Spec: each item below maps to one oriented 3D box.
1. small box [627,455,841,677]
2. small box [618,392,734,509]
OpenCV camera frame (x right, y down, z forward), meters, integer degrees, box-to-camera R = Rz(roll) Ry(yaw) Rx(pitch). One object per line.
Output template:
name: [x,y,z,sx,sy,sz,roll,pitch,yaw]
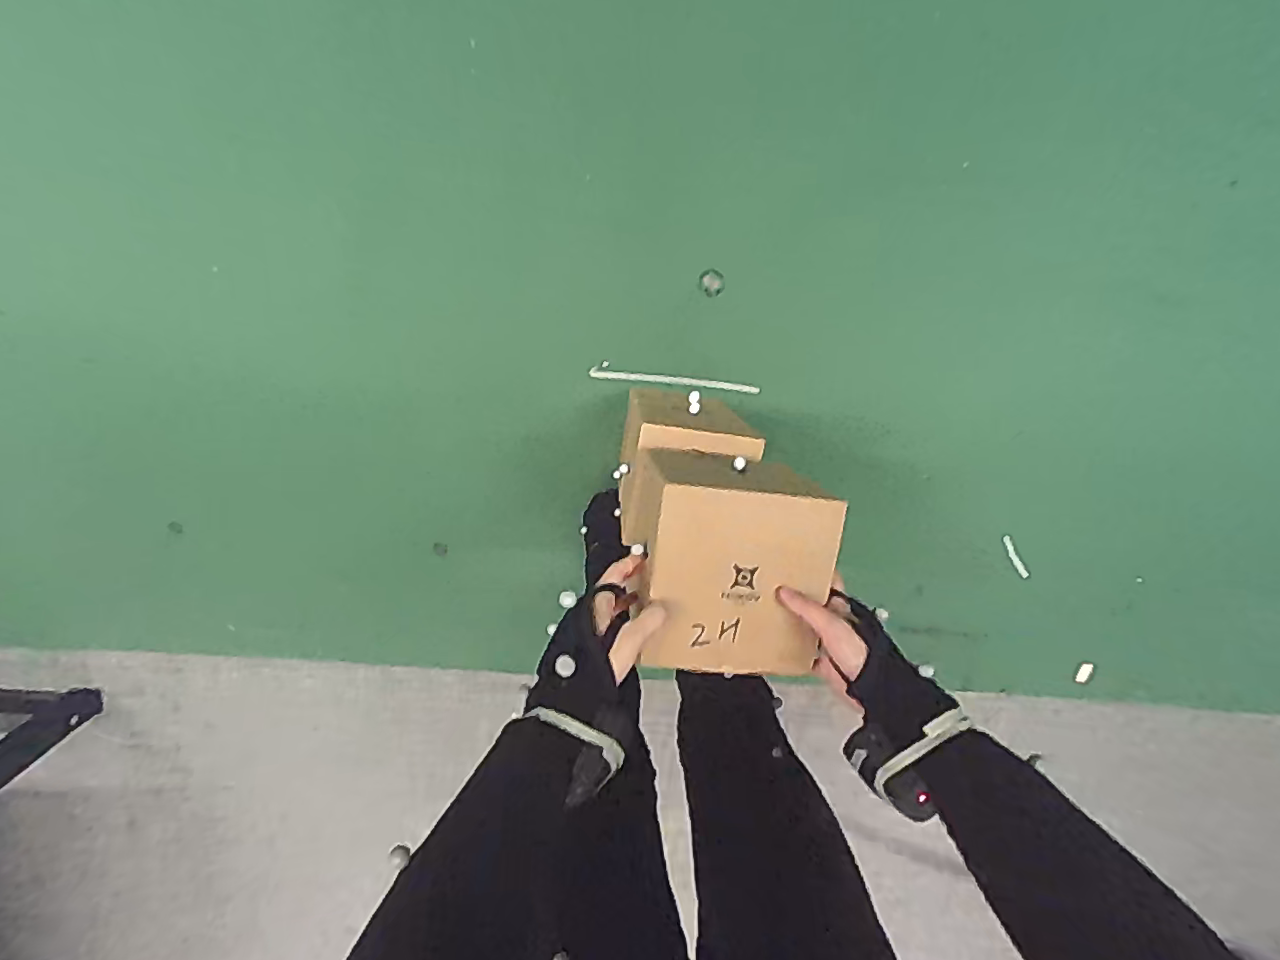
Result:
small box: [0.080,0.077,0.565,0.168,0.176,0.179,7,103,-7]
small box: [0.053,-0.051,0.951,0.168,0.176,0.179,8,107,-6]
